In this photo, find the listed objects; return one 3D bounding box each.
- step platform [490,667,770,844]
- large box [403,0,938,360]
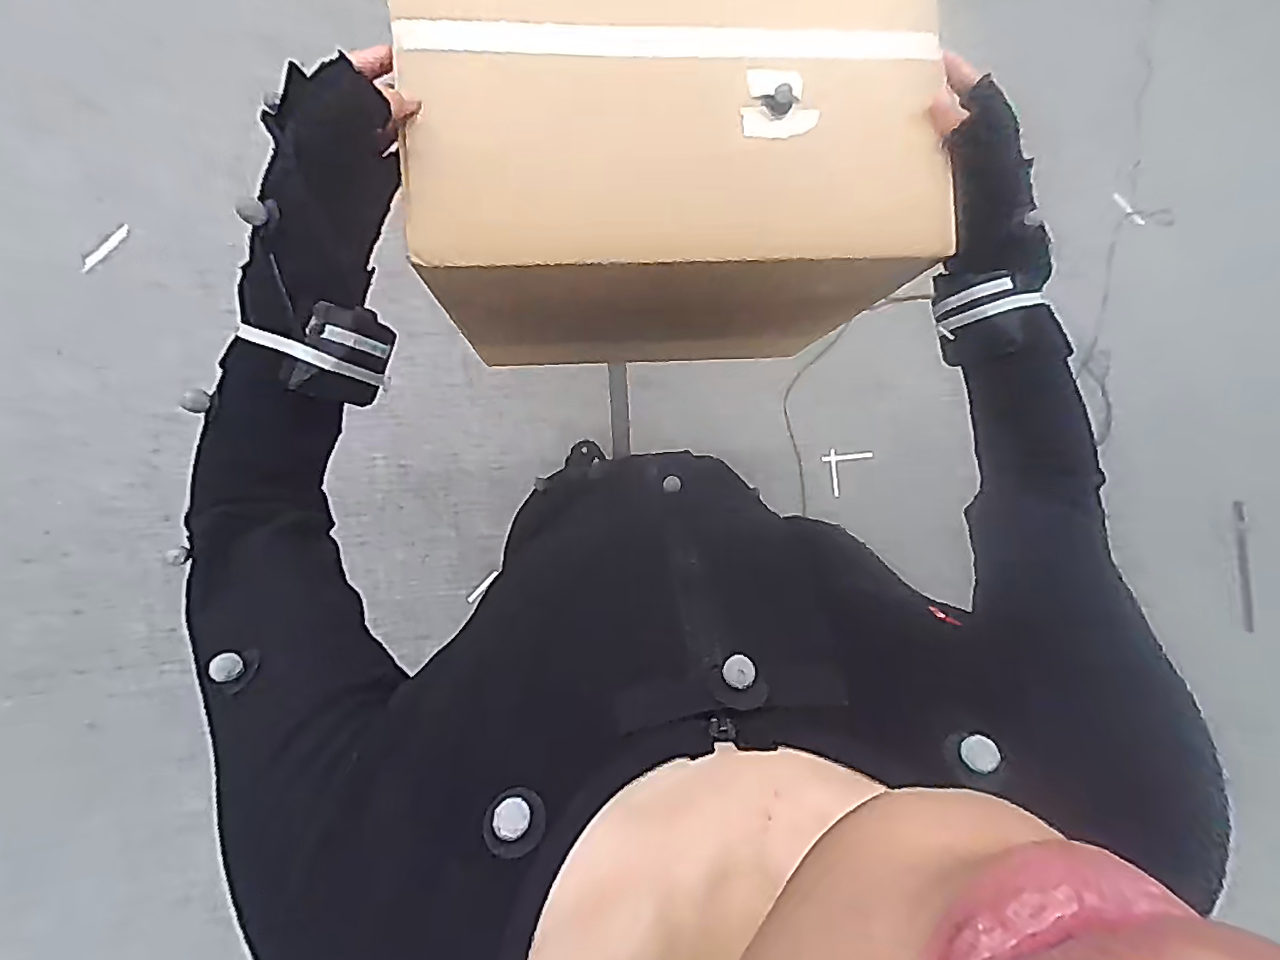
[{"bbox_3d":[-0.022,0.679,1.356,0.684,0.204,0.286,-7,87,-4],"label":"step platform"},{"bbox_3d":[0.010,-0.322,0.556,0.408,0.320,0.320,-4,90,-7],"label":"large box"}]
